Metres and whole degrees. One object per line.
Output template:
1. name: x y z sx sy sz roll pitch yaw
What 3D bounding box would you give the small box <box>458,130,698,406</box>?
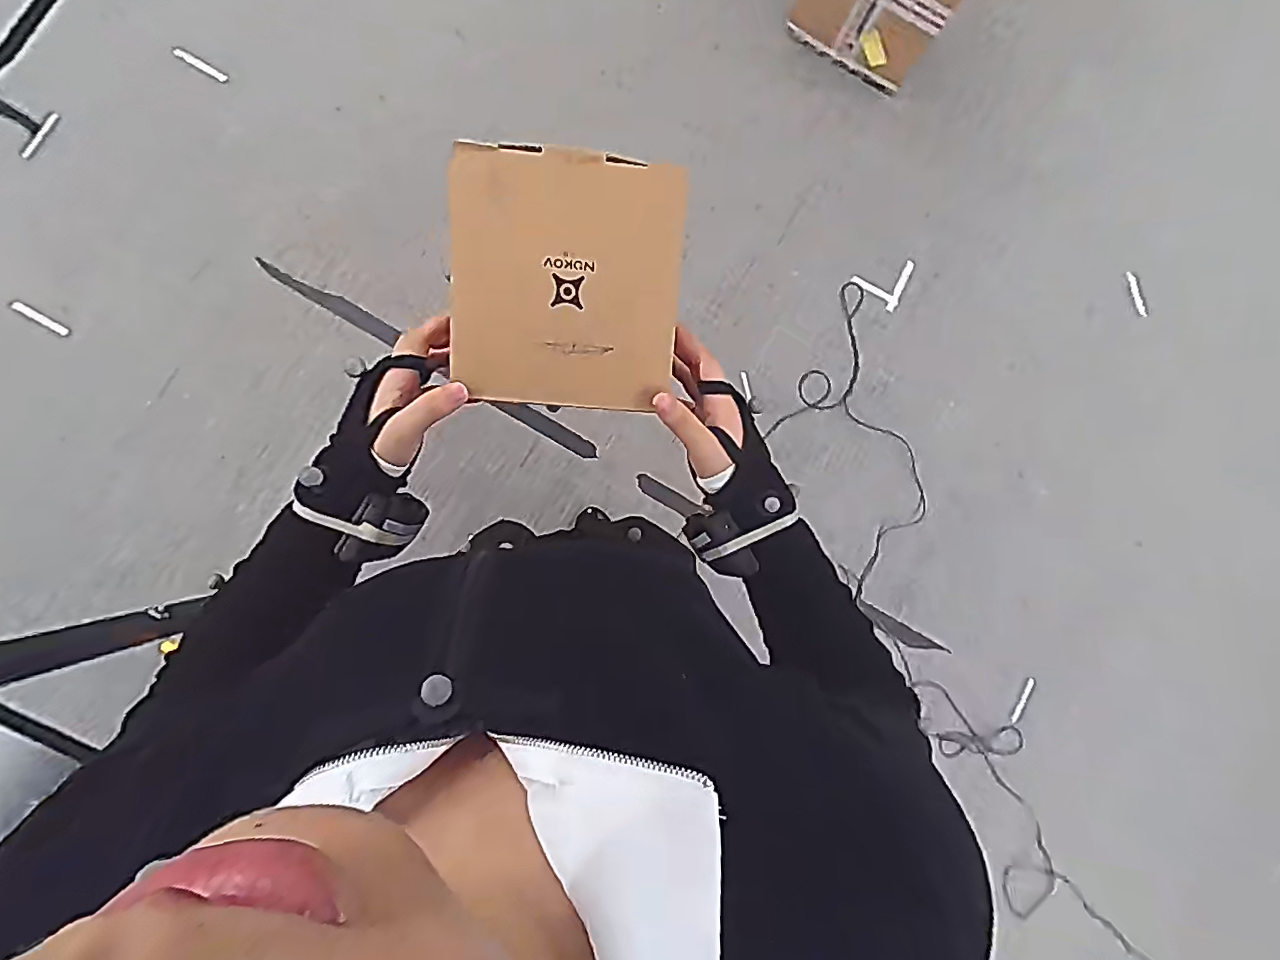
1. small box: -0.055 -0.165 0.470 0.168 0.176 0.179 4 103 -7
